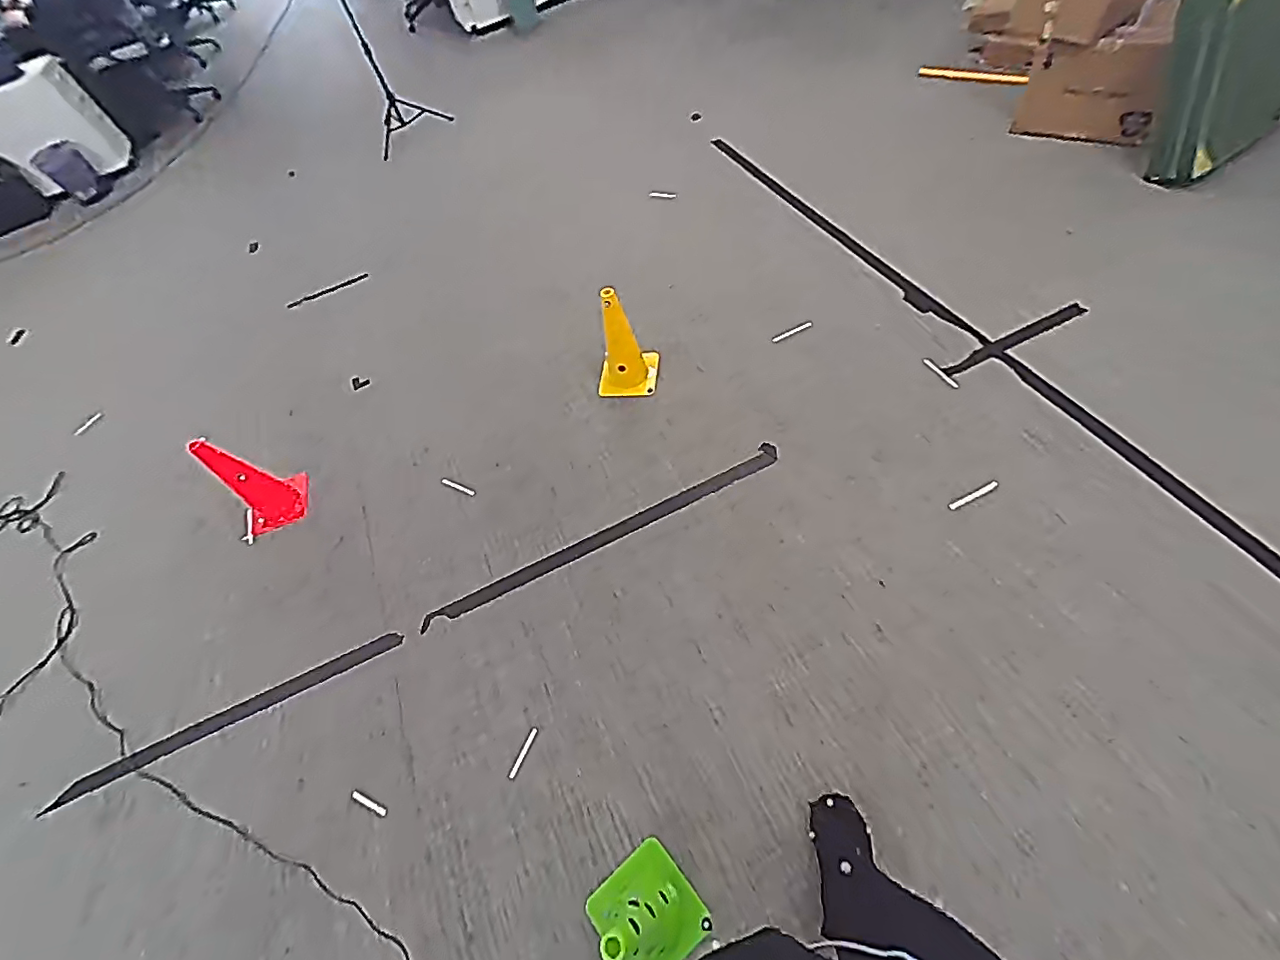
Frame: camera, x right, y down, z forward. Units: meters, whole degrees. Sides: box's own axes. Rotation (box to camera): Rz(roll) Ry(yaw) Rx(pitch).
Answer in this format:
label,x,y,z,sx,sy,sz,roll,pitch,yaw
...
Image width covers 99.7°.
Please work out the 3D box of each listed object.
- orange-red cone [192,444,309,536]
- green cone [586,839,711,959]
label,x,y,z,sx,sy,sz,roll,pitch,yaw
orange-red cone,-1.281,-0.001,1.747,0.199,0.360,0.198,-19,56,-2
green cone,-0.017,0.801,0.964,0.202,0.368,0.200,-40,58,-13
